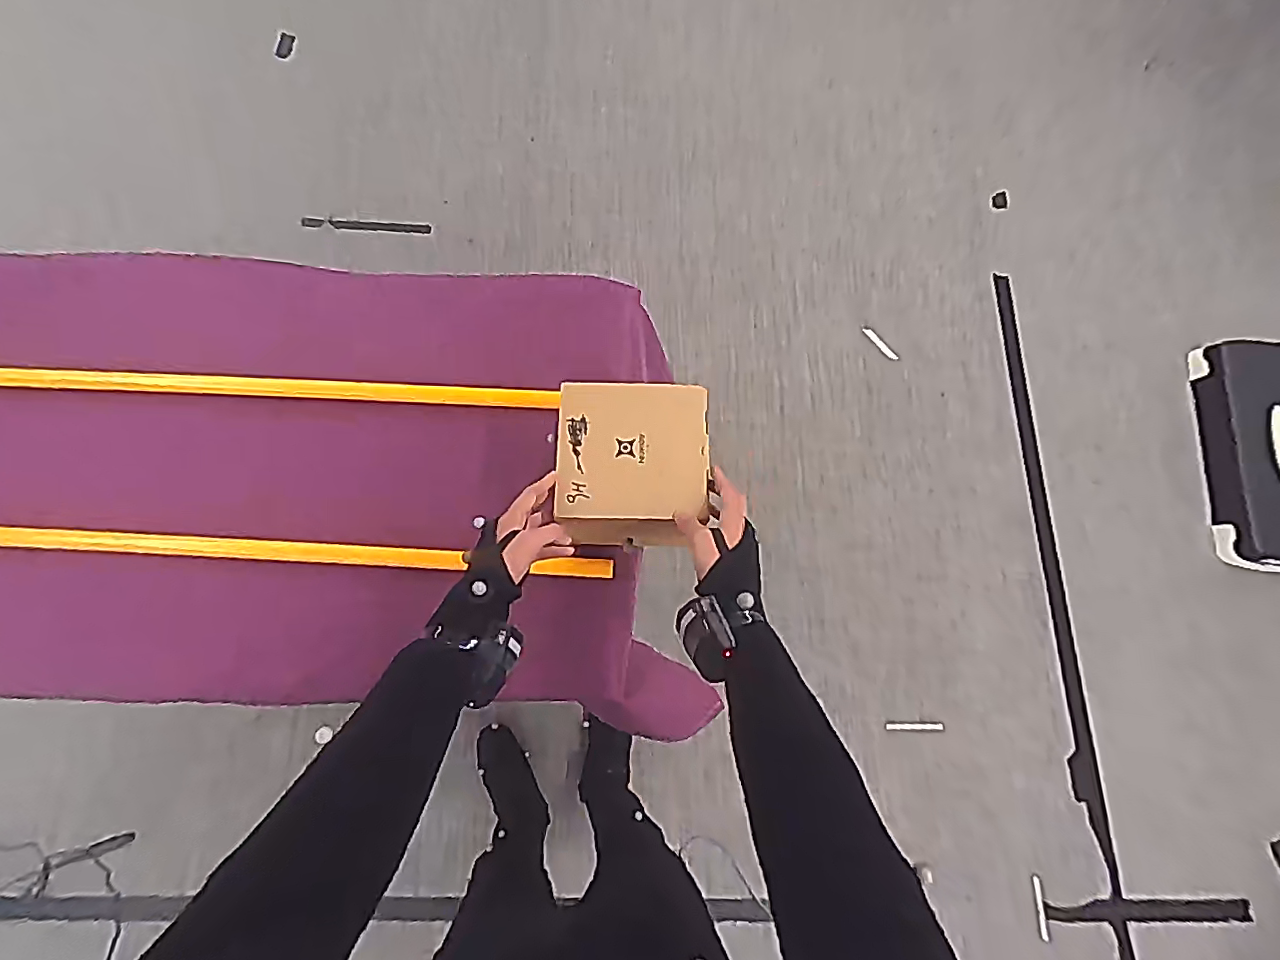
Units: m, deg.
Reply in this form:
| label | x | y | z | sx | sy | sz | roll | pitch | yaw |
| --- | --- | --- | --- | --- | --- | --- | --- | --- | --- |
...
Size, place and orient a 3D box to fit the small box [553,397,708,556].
| label | x | y | z | sx | sy | sz | roll | pitch | yaw |
| --- | --- | --- | --- | --- | --- | --- | --- | --- | --- |
| small box | -0.013 | 0.005 | 0.704 | 0.179 | 0.176 | 0.168 | 2 | 74 | -2 |
